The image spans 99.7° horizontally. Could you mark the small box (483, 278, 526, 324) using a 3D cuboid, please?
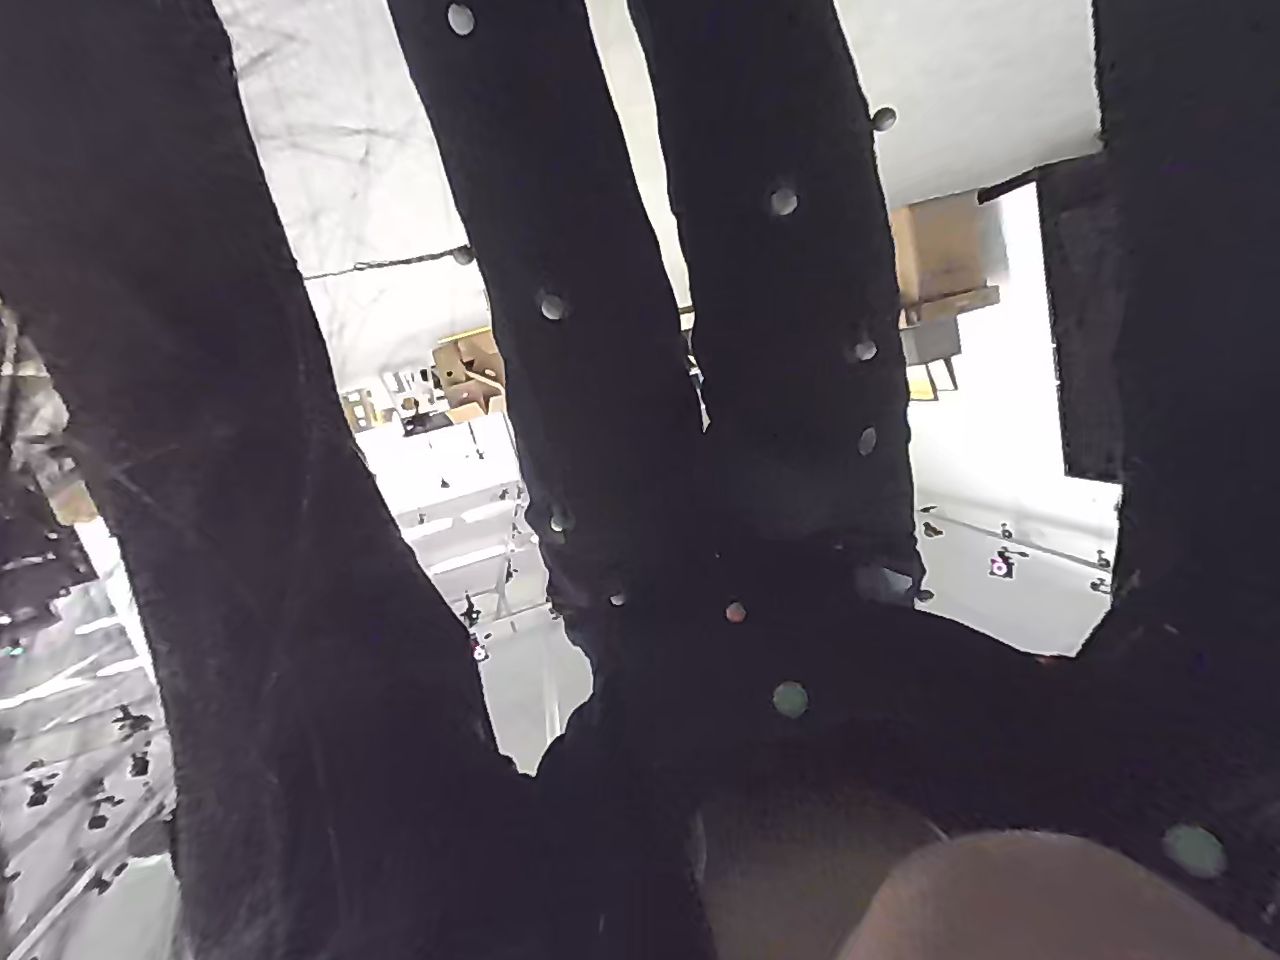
[{"bbox_3d":[-0.678,-0.893,2.704,0.179,0.176,0.168,-17,-169,-7],"label":"small box"}]
